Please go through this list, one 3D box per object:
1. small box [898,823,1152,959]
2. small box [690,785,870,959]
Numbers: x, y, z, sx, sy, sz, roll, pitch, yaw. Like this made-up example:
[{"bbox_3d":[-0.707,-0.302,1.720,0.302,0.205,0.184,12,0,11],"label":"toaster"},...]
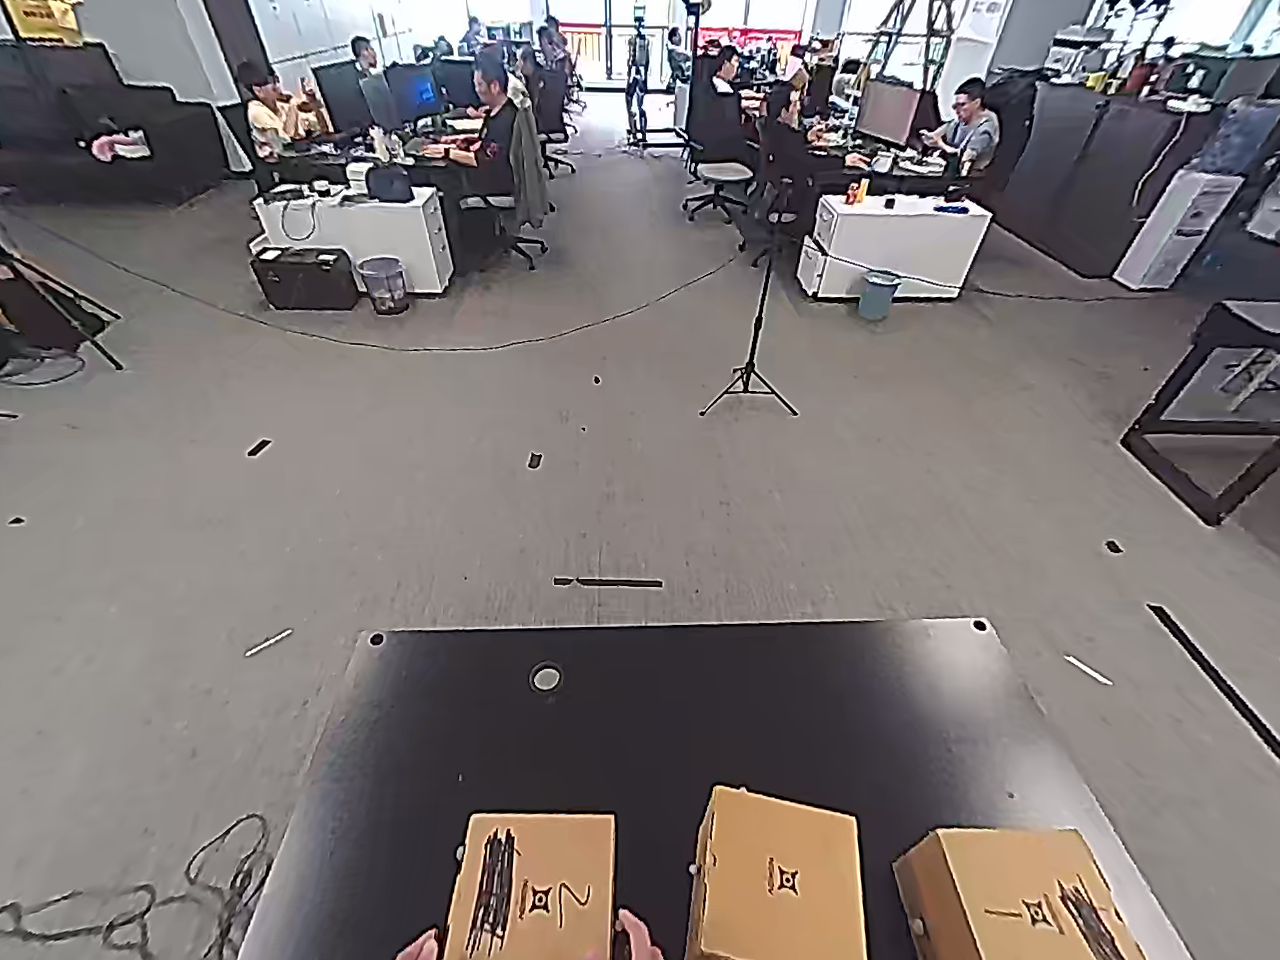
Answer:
[{"bbox_3d":[0.441,0.525,0.639,0.179,0.176,0.168,0,42,0],"label":"small box"},{"bbox_3d":[0.162,0.505,0.660,0.179,0.176,0.168,7,42,8],"label":"small box"}]
